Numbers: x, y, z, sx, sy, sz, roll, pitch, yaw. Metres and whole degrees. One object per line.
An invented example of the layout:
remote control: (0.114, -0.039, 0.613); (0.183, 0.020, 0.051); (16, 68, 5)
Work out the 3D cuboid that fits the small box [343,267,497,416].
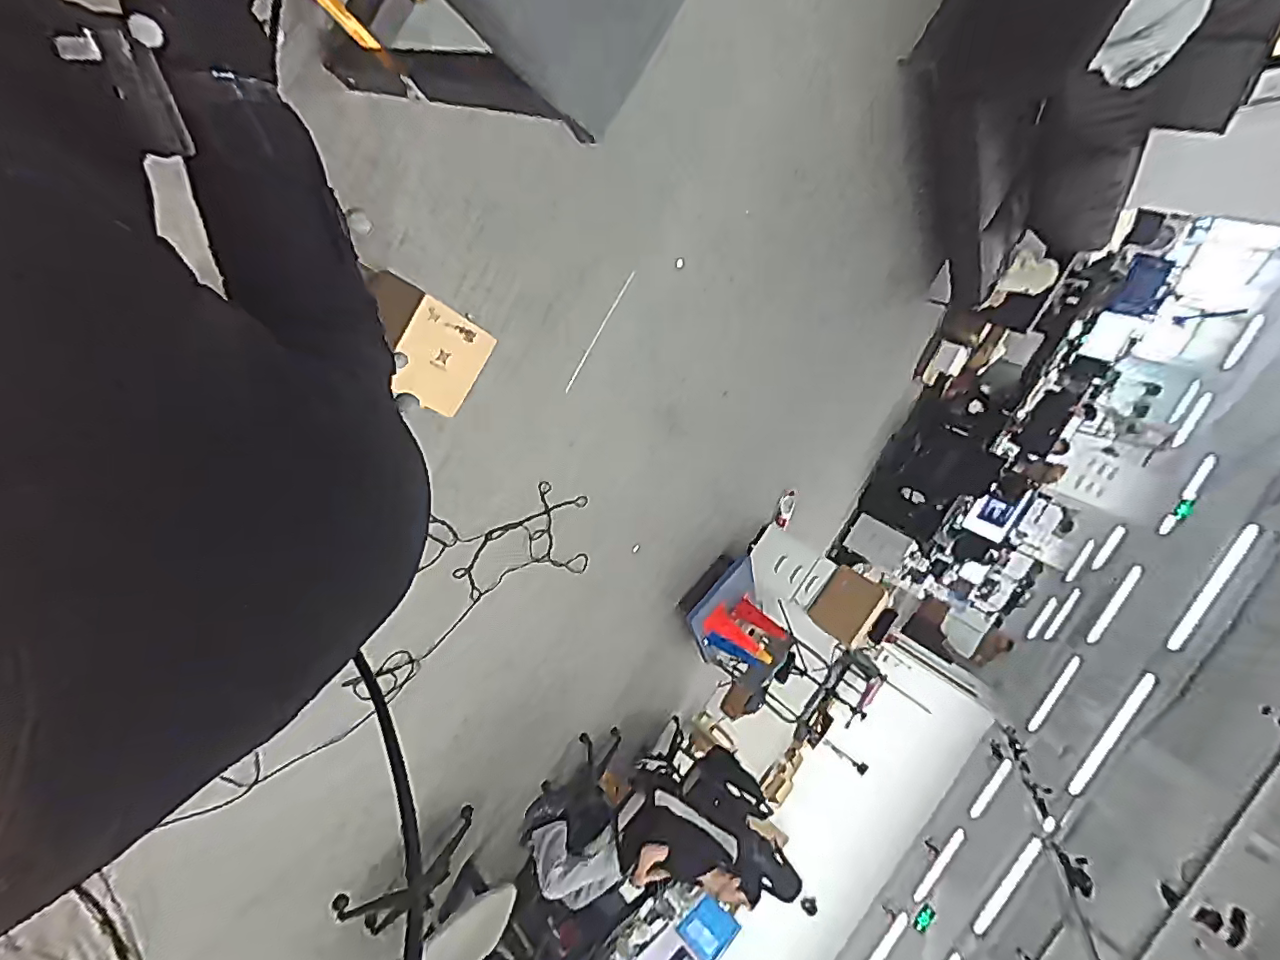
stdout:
small box: (-0.405, -0.251, 0.984); (0.179, 0.176, 0.168); (-57, 148, 3)
